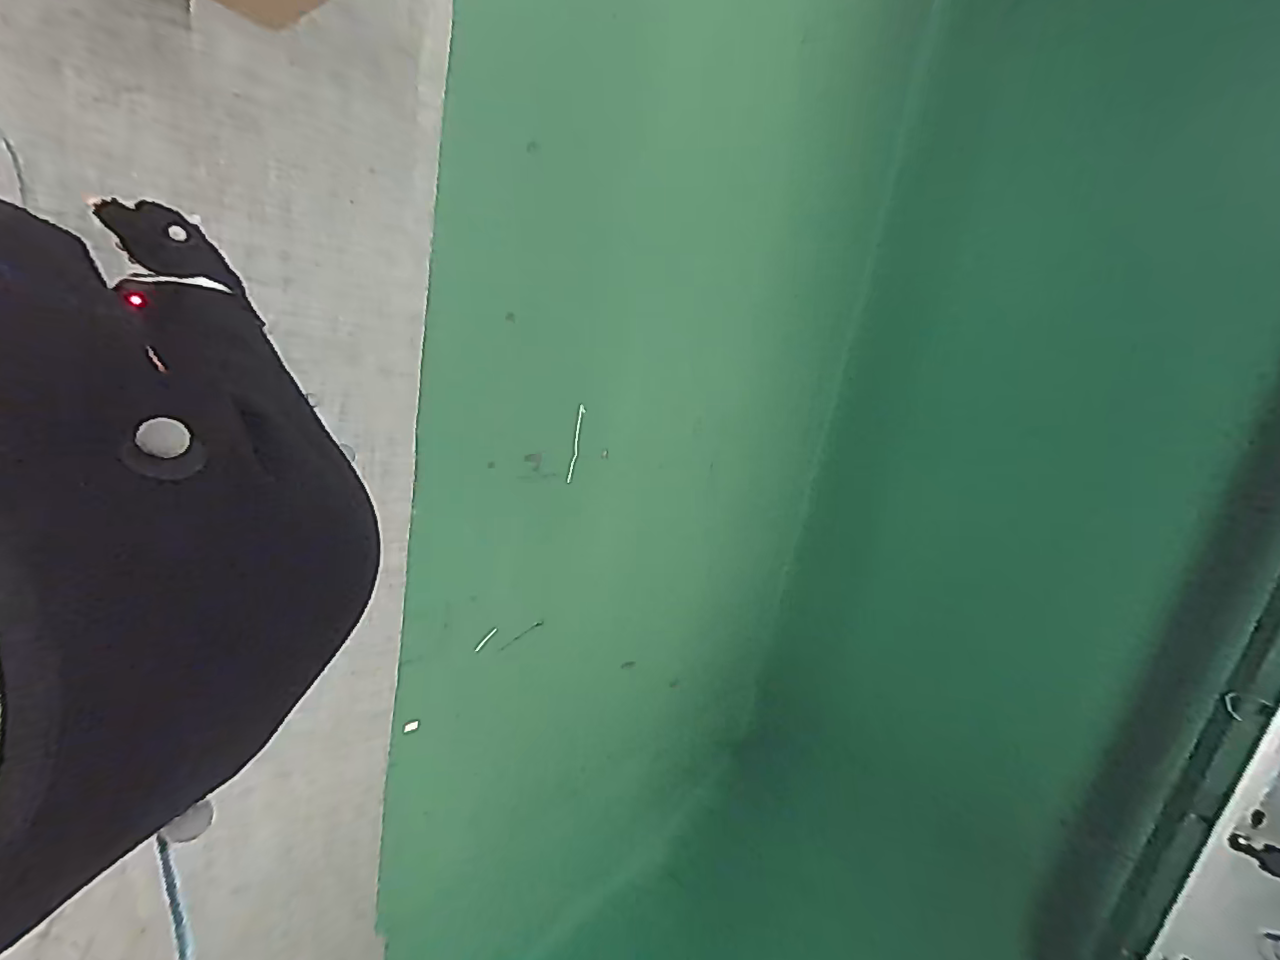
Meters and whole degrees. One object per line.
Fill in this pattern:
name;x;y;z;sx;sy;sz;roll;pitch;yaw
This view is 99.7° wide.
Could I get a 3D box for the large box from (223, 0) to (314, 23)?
large box;-0.669;-0.933;0.735;0.408;0.320;0.320;-4;110;-50
